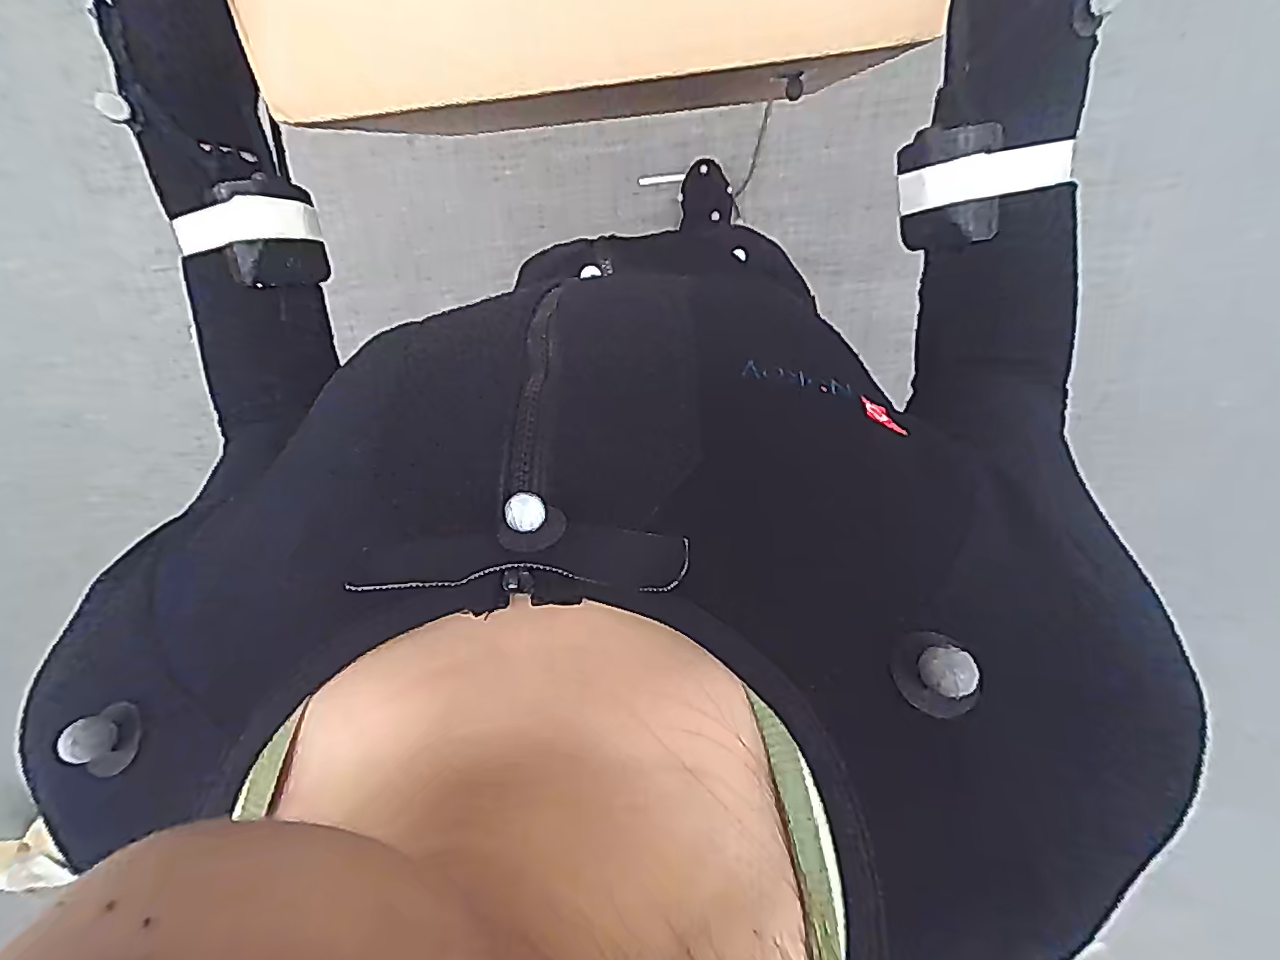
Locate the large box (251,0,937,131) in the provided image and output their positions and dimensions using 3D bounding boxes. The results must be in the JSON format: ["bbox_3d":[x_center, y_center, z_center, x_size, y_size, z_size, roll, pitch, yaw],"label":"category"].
[{"bbox_3d":[-0.035,-0.453,0.381,0.408,0.320,0.320,-4,120,5],"label":"large box"}]
